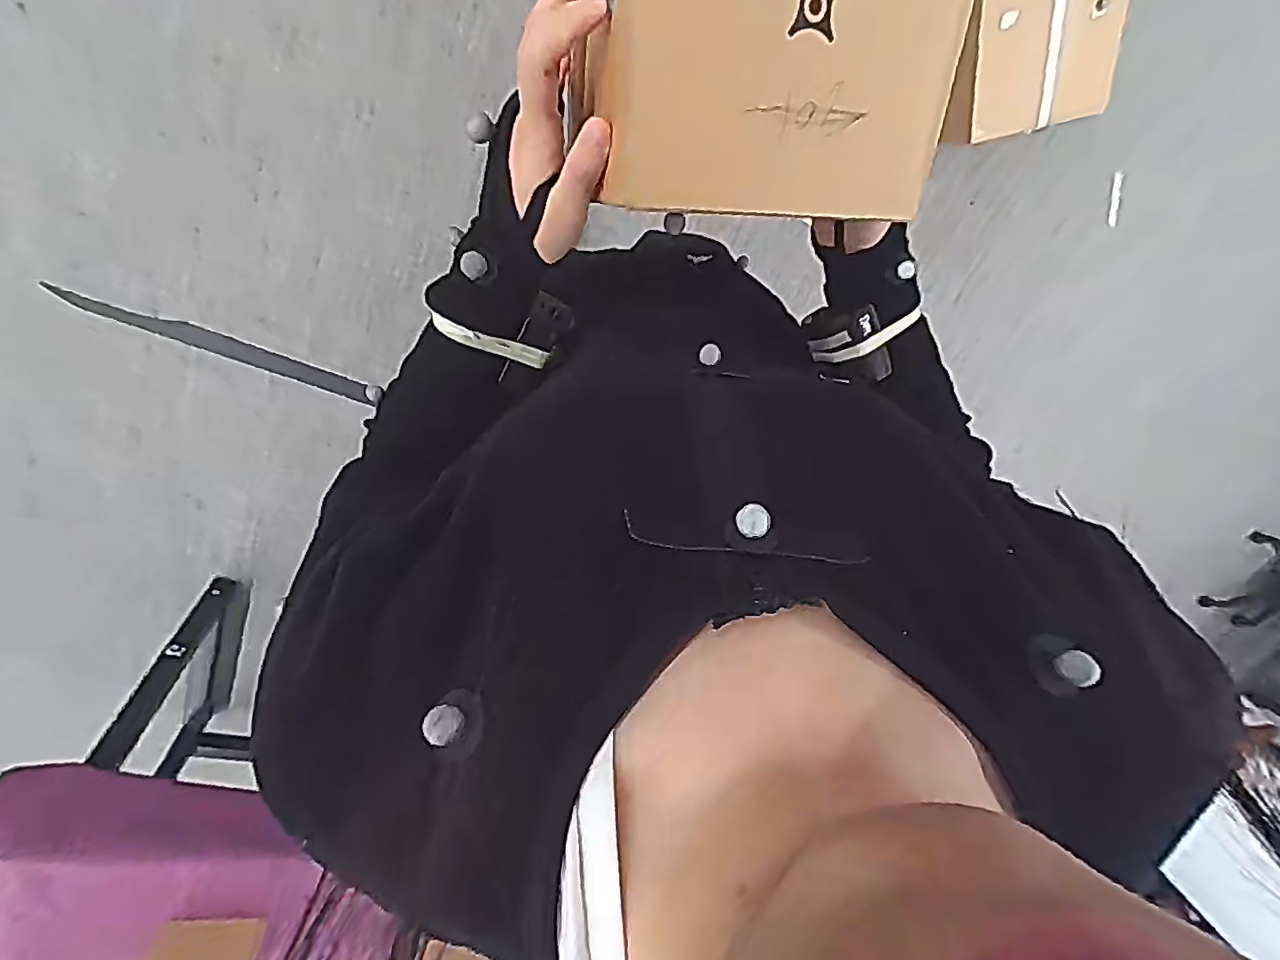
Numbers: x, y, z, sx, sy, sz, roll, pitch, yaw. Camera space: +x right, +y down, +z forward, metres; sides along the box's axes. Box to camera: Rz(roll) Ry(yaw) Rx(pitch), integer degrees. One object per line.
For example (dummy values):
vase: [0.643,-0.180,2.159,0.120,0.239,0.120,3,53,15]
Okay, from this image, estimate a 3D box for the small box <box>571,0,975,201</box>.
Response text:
small box: [0.055,-0.257,0.298,0.168,0.176,0.179,-6,120,-15]

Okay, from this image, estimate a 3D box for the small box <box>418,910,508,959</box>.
small box: [-0.399,1.089,1.197,0.168,0.176,0.179,18,114,-22]
